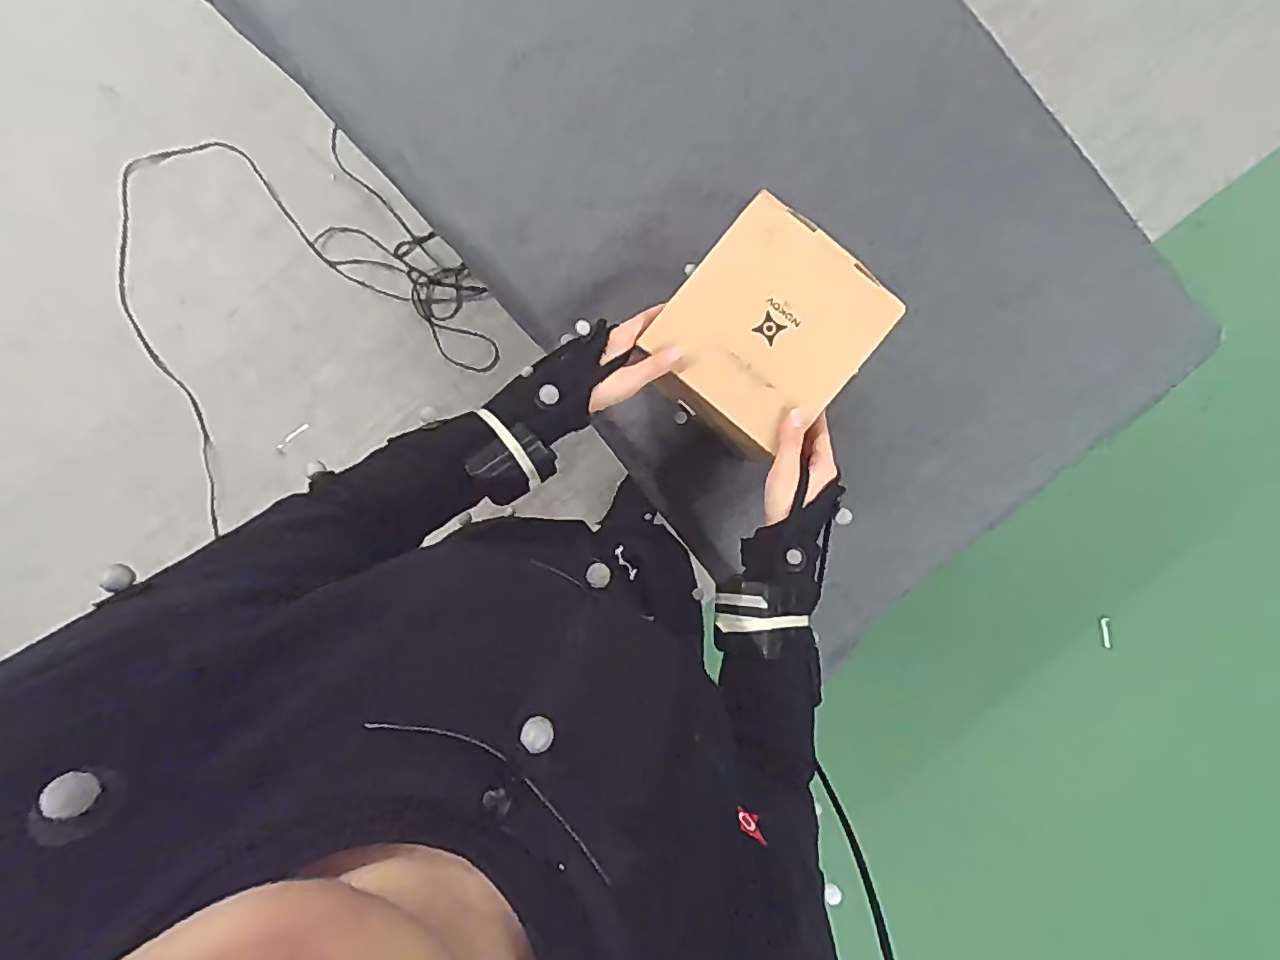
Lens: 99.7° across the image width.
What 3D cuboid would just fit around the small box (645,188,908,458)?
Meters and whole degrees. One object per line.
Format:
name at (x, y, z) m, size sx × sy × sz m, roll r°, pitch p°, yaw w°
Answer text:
small box at (0.118, -0.139, 0.547) m, size 0.168 × 0.176 × 0.179 m, roll 39°, pitch 92°, yaw 0°
